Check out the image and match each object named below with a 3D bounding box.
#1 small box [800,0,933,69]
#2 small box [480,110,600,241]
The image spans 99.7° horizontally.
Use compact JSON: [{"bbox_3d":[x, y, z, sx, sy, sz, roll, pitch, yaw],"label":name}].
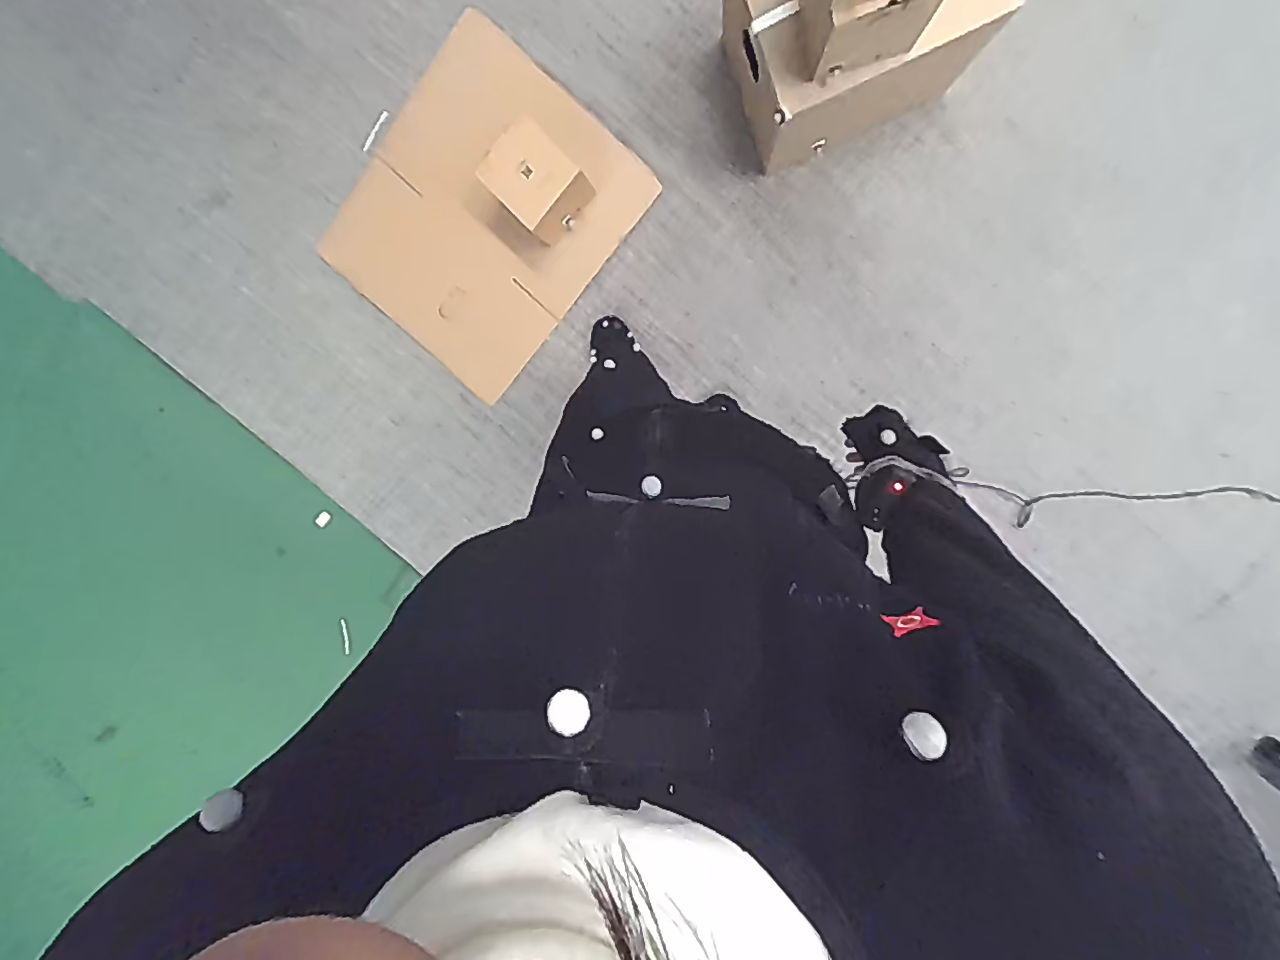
[{"bbox_3d":[0.340,-0.763,0.813,0.168,0.176,0.179,-12,100,10],"label":"small box"},{"bbox_3d":[-0.218,-0.671,1.220,0.179,0.176,0.168,44,106,-3],"label":"small box"}]
